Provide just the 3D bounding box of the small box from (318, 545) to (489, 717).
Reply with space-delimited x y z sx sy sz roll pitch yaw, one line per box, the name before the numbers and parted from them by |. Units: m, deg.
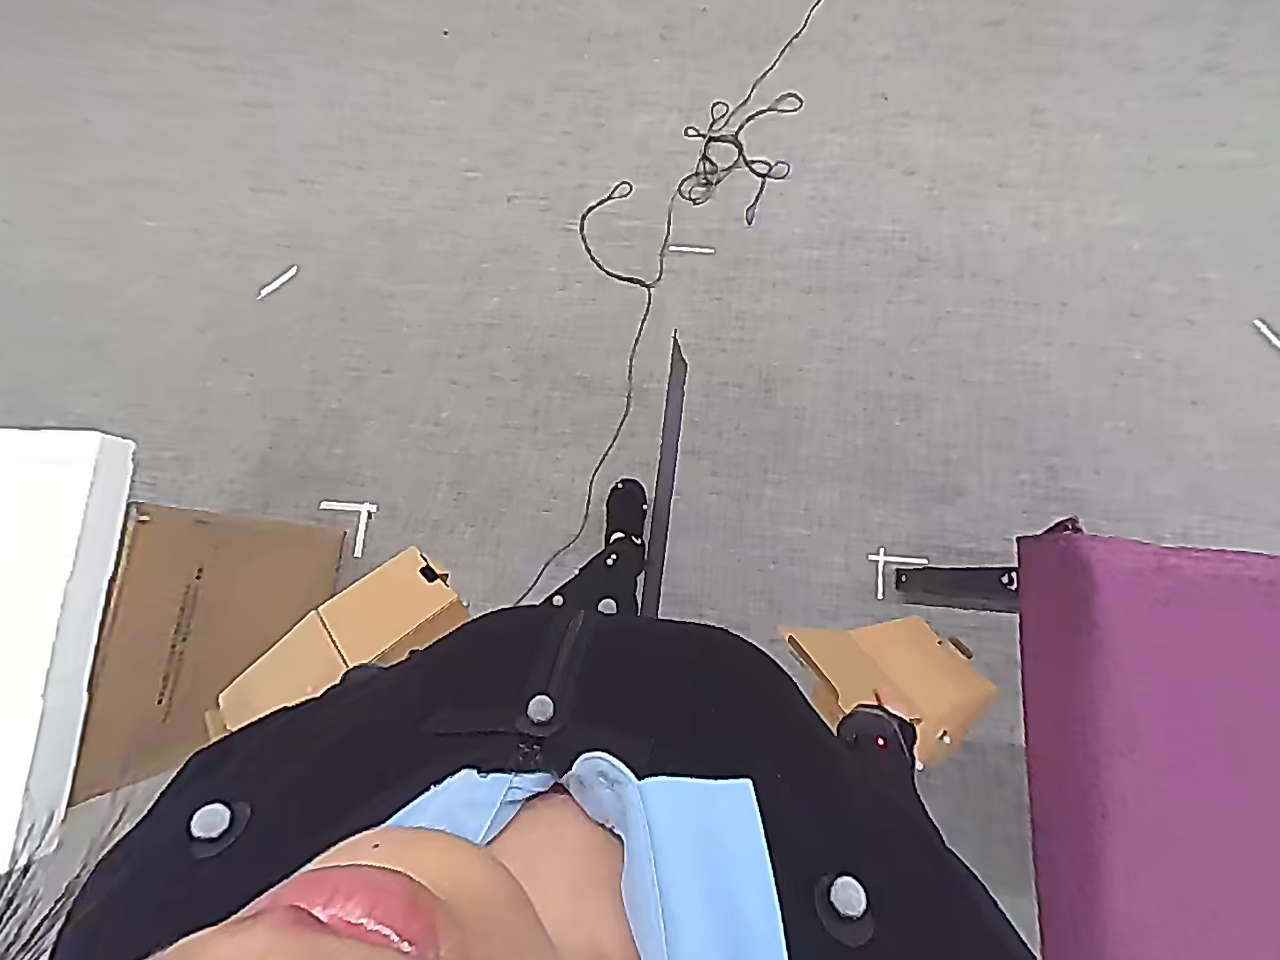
small box | -0.381 0.248 0.891 0.179 0.176 0.168 -36 47 -26
